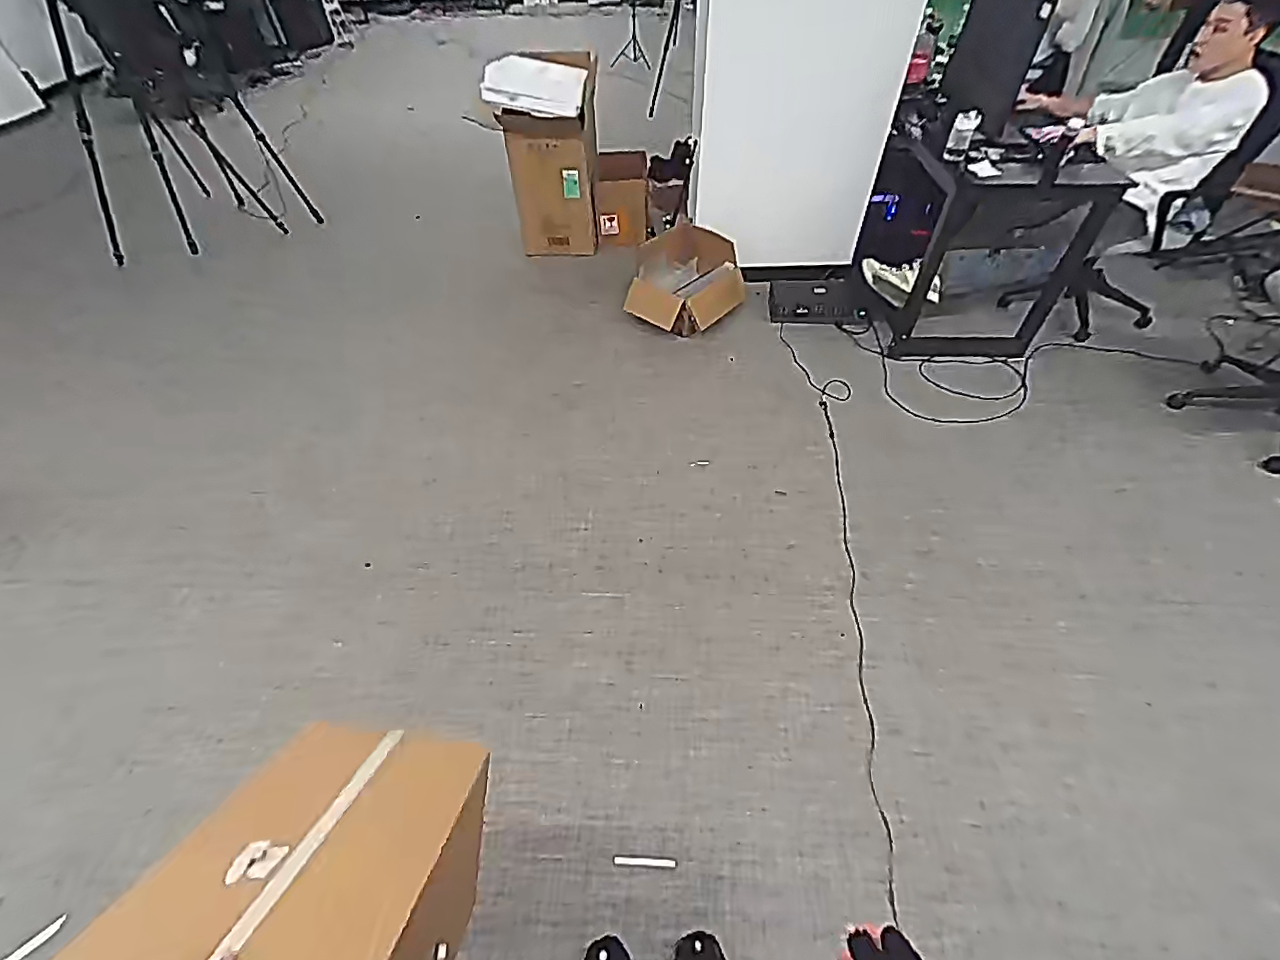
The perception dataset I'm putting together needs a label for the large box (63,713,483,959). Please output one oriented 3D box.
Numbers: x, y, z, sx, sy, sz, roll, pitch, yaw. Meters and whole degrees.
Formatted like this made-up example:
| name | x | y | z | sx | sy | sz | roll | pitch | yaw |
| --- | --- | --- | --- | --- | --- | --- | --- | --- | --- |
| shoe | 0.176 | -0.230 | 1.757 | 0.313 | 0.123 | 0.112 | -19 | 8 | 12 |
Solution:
| name | x | y | z | sx | sy | sz | roll | pitch | yaw |
| --- | --- | --- | --- | --- | --- | --- | --- | --- | --- |
| large box | -0.442 | 0.605 | 0.758 | 0.320 | 0.320 | 0.408 | 8 | 13 | 2 |
